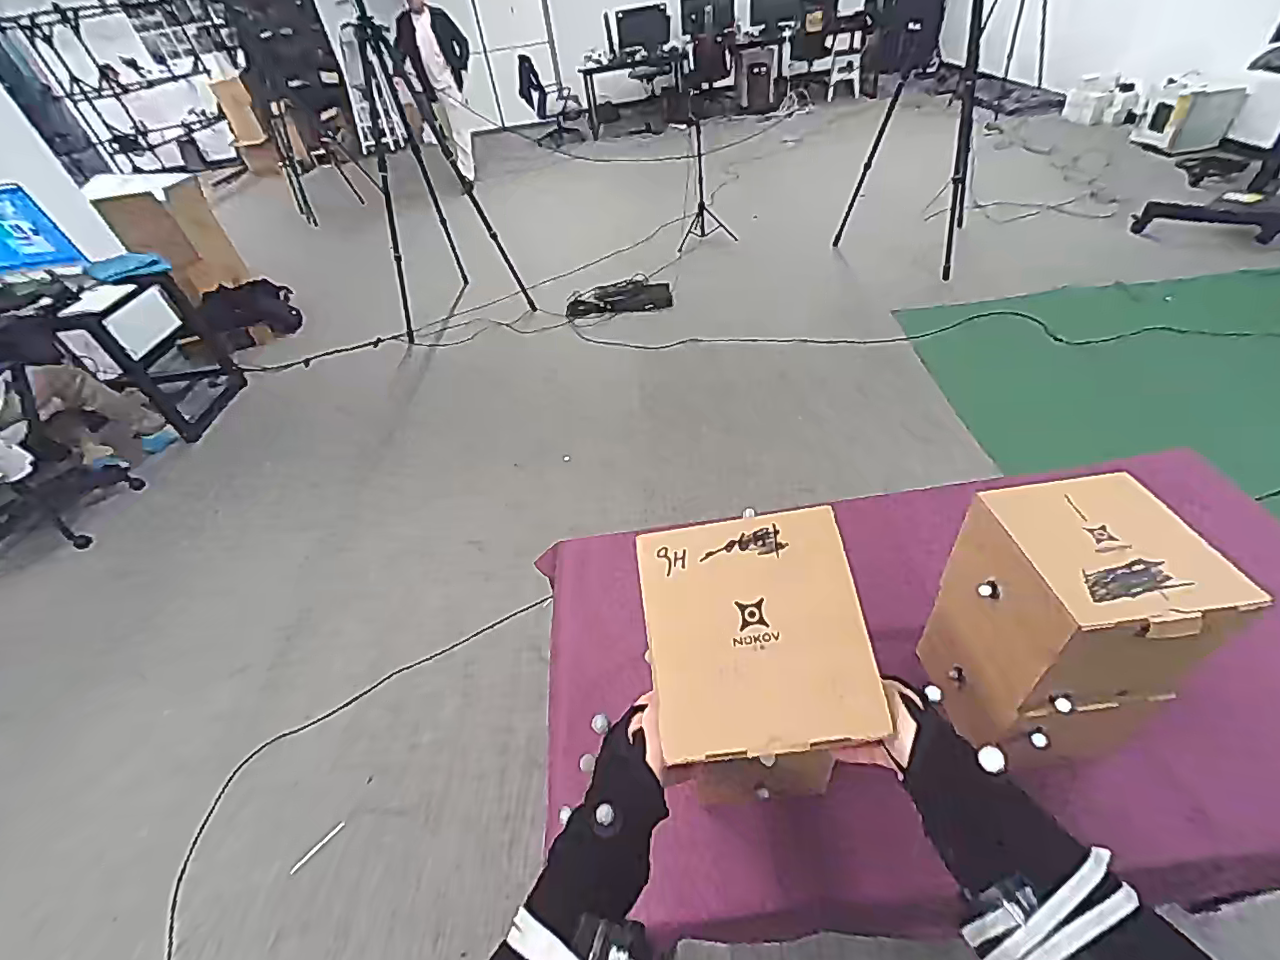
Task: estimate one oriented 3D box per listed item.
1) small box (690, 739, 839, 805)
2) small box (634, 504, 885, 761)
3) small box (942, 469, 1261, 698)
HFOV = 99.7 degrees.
[{"bbox_3d":[0.141,0.292,0.700,0.168,0.176,0.179,-8,42,3],"label":"small box"},{"bbox_3d":[0.096,0.141,0.492,0.168,0.176,0.179,-10,66,4],"label":"small box"},{"bbox_3d":[0.462,0.116,0.583,0.168,0.176,0.179,-9,41,2],"label":"small box"}]
